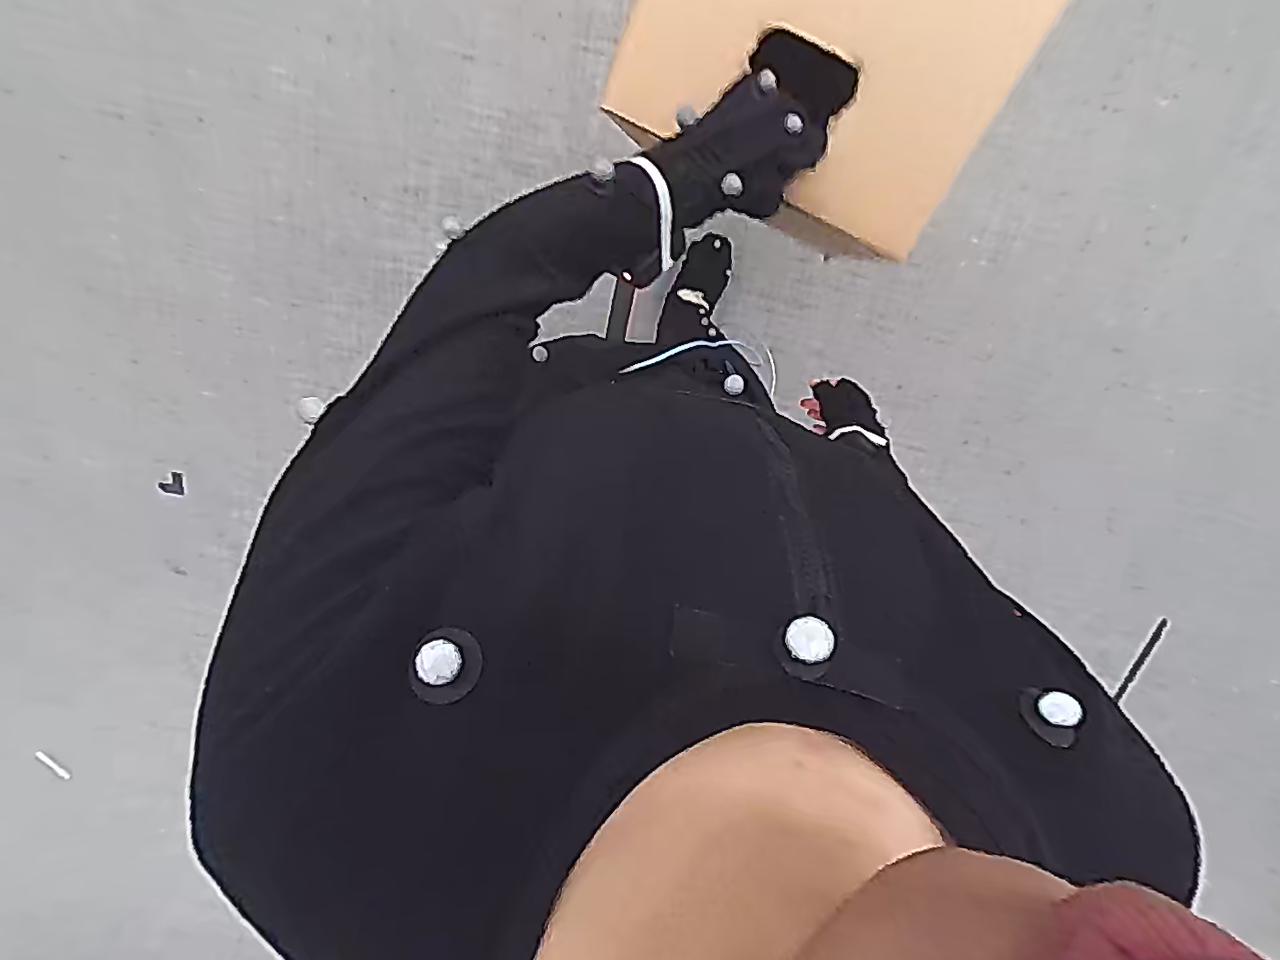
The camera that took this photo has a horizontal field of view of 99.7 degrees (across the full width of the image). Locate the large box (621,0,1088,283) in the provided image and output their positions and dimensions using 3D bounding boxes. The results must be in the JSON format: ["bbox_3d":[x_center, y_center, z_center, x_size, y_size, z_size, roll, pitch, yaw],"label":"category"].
[{"bbox_3d":[0.218,-0.451,0.620,0.320,0.408,0.320,30,115,-2],"label":"large box"}]
